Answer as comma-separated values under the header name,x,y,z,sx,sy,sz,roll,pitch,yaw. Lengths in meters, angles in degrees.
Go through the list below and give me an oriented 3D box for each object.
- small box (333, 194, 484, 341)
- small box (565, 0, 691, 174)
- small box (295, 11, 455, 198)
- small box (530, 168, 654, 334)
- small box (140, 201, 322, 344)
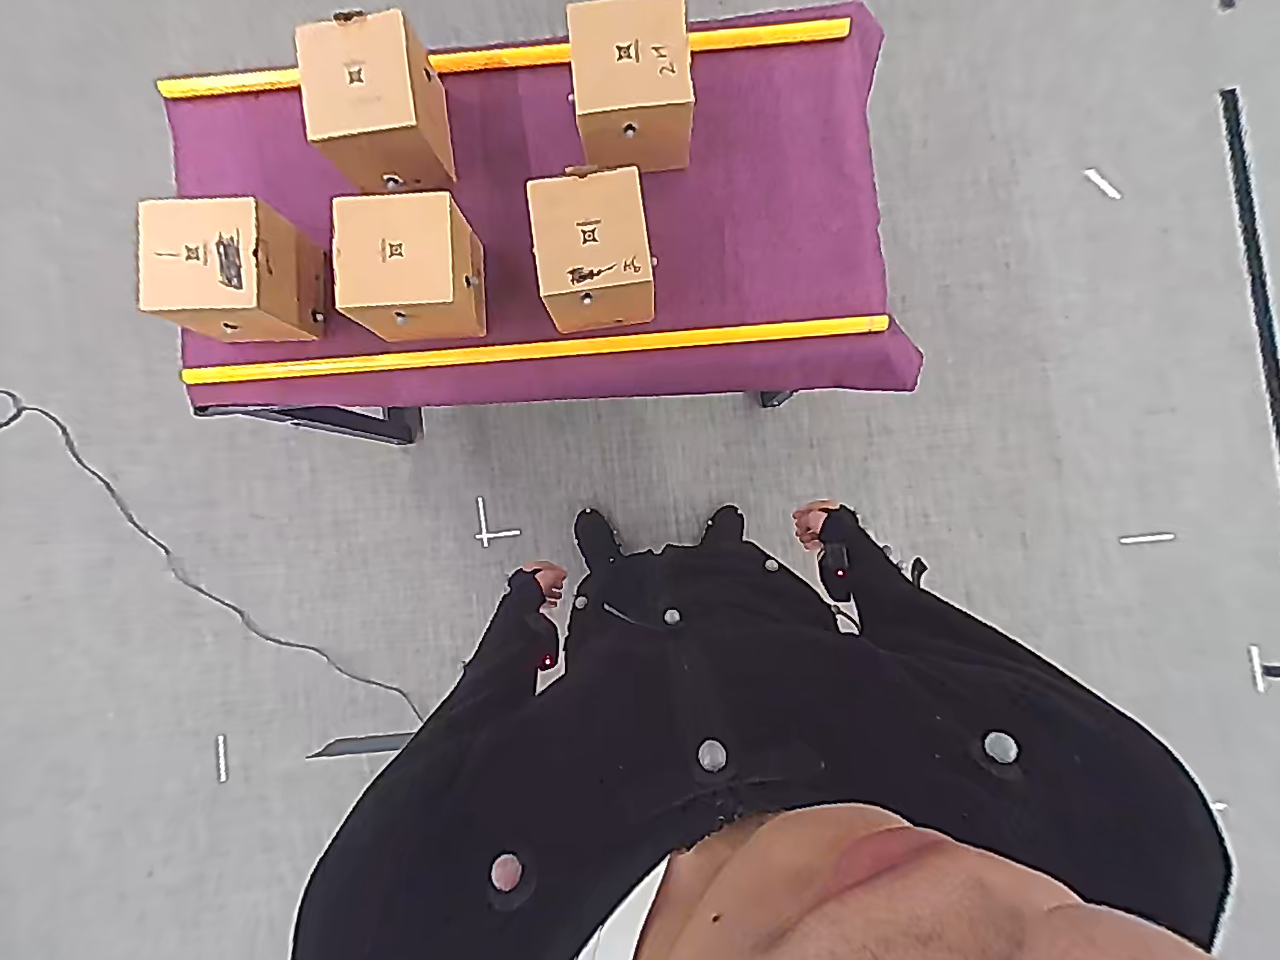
name,x,y,z,sx,sy,sz,roll,pitch,yaw
small box,-0.355,-0.328,0.862,0.179,0.176,0.168,-3,88,2
small box,-0.015,-0.615,0.864,0.179,0.176,0.168,-5,90,1
small box,-0.415,-0.591,0.871,0.168,0.176,0.179,-8,89,2
small box,-0.070,-0.351,0.857,0.168,0.176,0.179,-7,86,1
small box,-0.638,-0.321,0.864,0.179,0.176,0.168,-1,88,1
